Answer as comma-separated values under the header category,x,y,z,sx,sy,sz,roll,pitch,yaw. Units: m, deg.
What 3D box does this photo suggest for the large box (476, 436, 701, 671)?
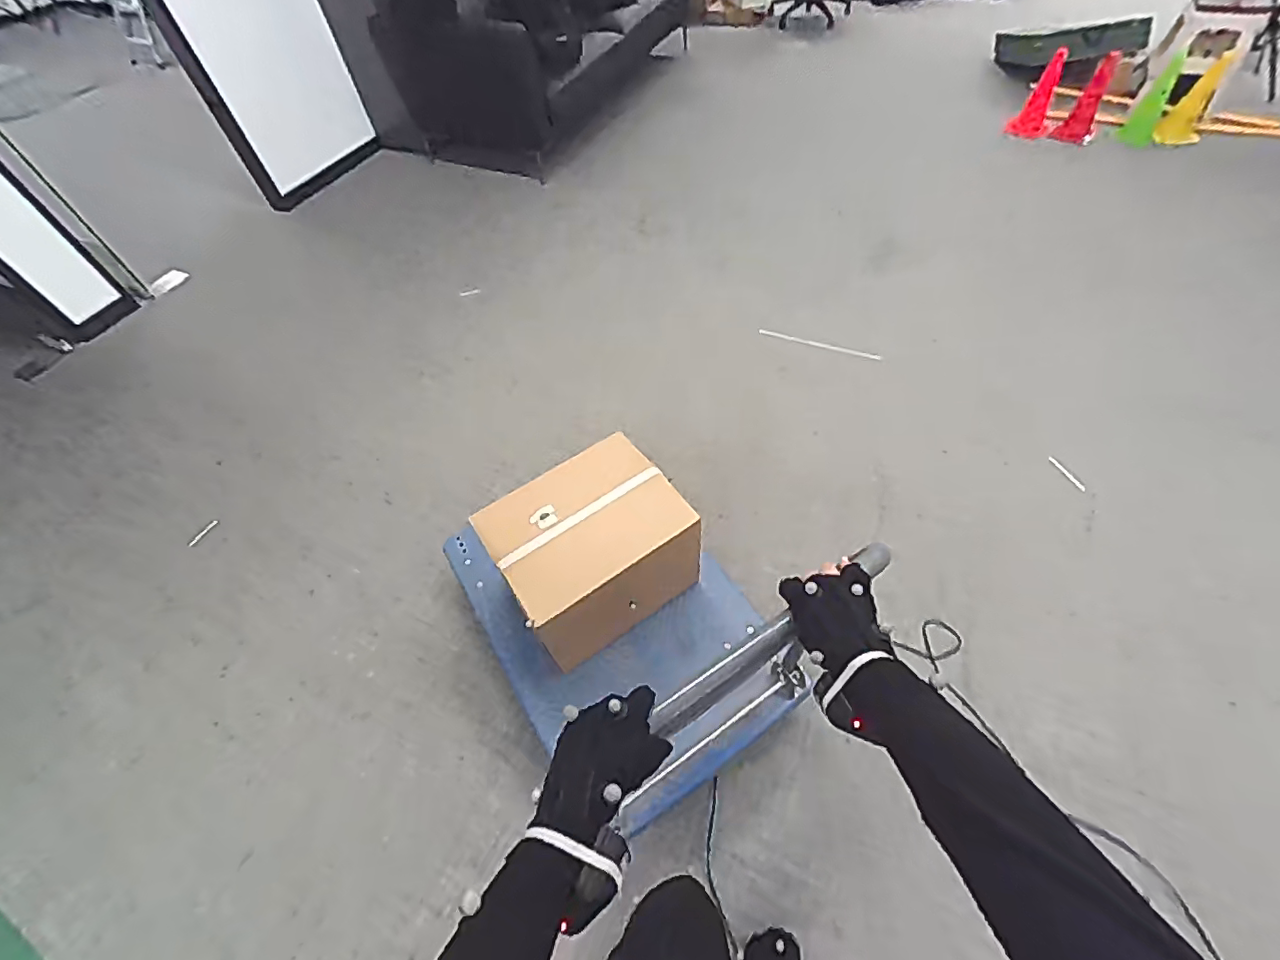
category,x,y,z,sx,sy,sz,roll,pitch,yaw
large box,-0.103,0.174,1.285,0.408,0.320,0.320,-33,58,-16
